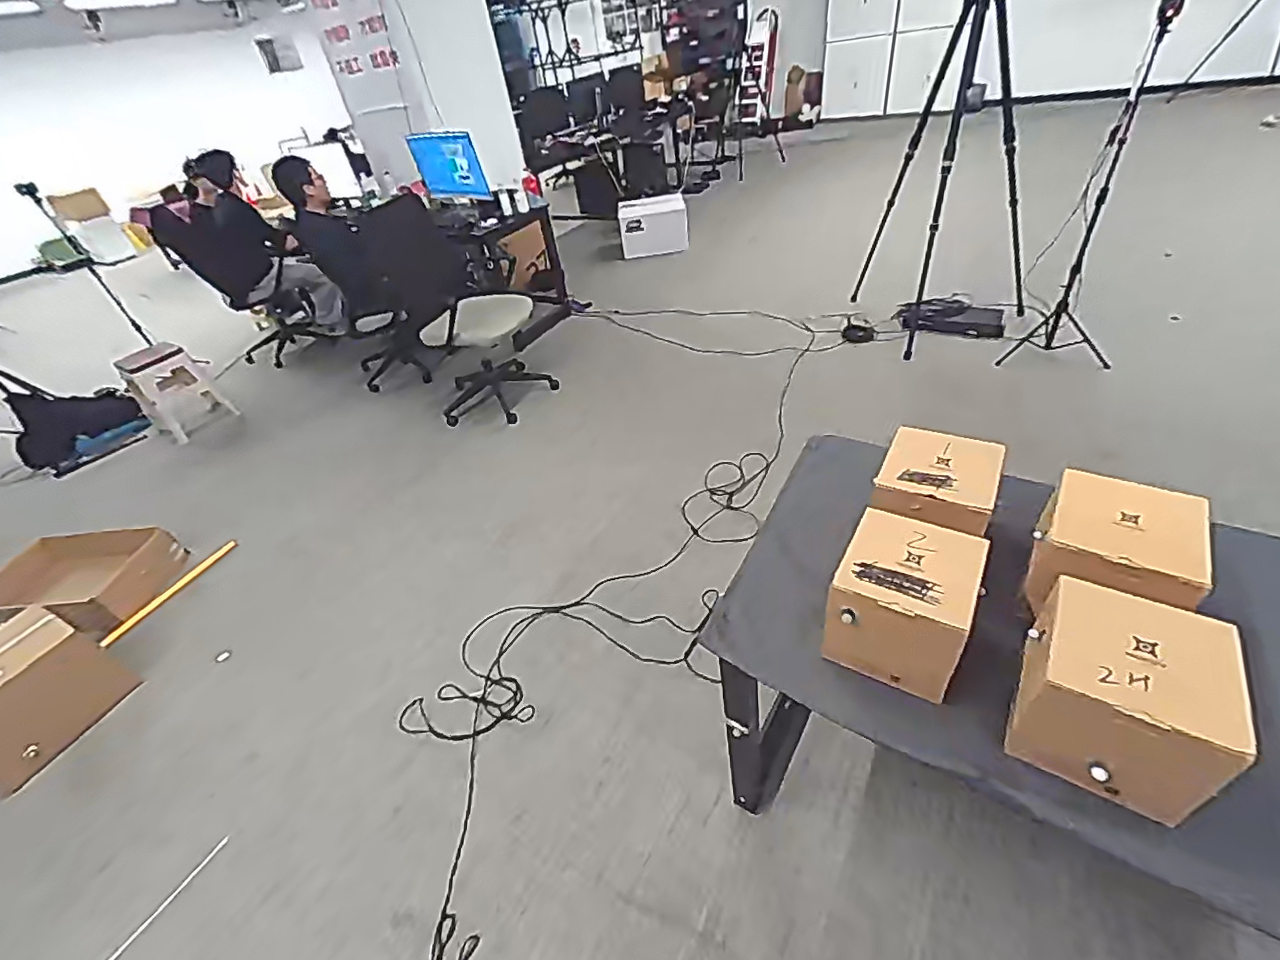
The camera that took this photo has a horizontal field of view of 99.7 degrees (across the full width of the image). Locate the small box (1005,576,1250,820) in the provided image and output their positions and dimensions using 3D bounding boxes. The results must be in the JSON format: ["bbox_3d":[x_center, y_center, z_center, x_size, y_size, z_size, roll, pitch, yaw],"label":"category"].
[{"bbox_3d":[0.563,0.254,0.647,0.168,0.176,0.179,18,46,31],"label":"small box"}]

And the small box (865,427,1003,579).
[{"bbox_3d":[0.494,0.039,0.925,0.168,0.176,0.179,17,46,29],"label":"small box"}]

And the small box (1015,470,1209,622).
[{"bbox_3d":[0.678,0.118,0.791,0.168,0.176,0.179,19,49,31],"label":"small box"}]
